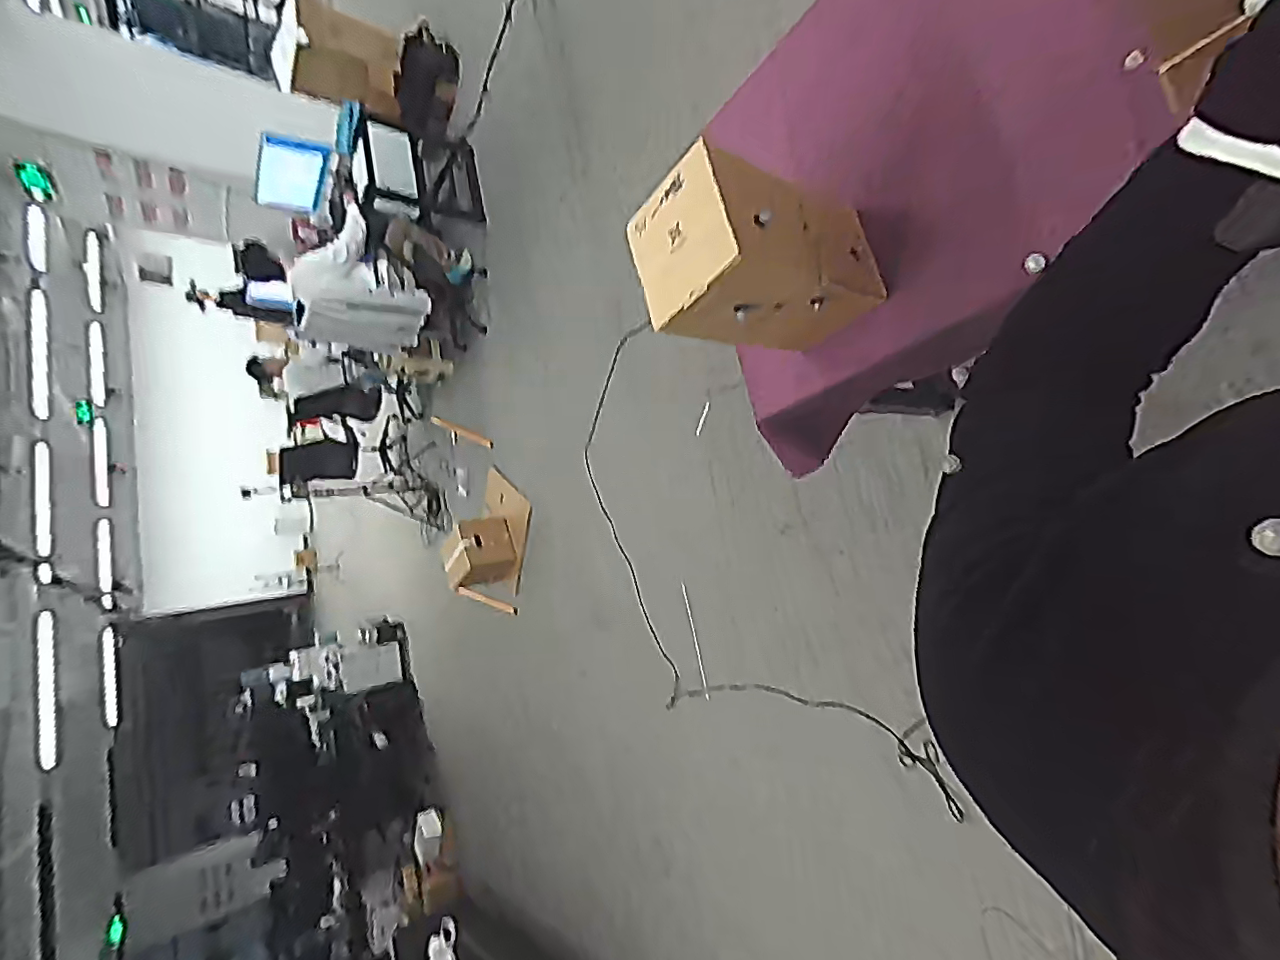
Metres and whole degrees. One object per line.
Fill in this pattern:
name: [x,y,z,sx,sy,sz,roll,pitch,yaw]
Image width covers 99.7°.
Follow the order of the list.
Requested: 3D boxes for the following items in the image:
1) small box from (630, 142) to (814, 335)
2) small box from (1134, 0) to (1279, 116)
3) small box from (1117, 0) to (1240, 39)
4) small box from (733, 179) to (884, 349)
small box: [0.115,-0.319,0.758,0.168,0.176,0.179,-29,70,47]
small box: [0.541,-0.462,0.472,0.168,0.176,0.179,-24,74,49]
small box: [0.413,-0.458,0.371,0.168,0.176,0.179,-22,75,50]
small box: [0.247,-0.325,0.857,0.179,0.176,0.168,-29,70,48]
